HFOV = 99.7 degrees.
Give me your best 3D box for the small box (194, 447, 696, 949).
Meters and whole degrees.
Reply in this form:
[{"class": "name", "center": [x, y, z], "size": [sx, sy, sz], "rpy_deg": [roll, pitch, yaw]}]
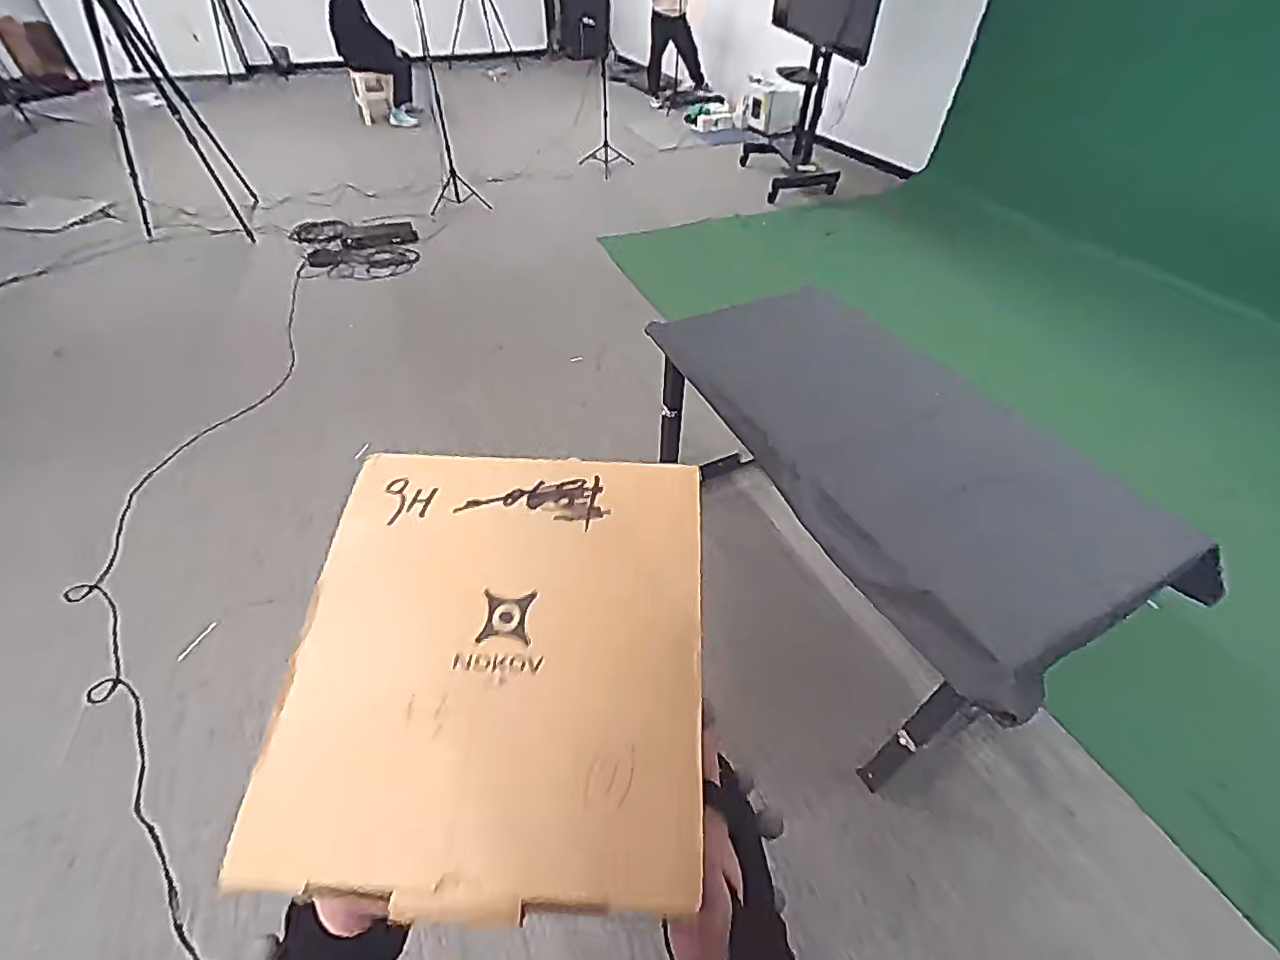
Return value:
[{"class": "small box", "center": [-0.061, 0.102, 0.282], "size": [0.168, 0.176, 0.179], "rpy_deg": [3, 63, 0]}]
